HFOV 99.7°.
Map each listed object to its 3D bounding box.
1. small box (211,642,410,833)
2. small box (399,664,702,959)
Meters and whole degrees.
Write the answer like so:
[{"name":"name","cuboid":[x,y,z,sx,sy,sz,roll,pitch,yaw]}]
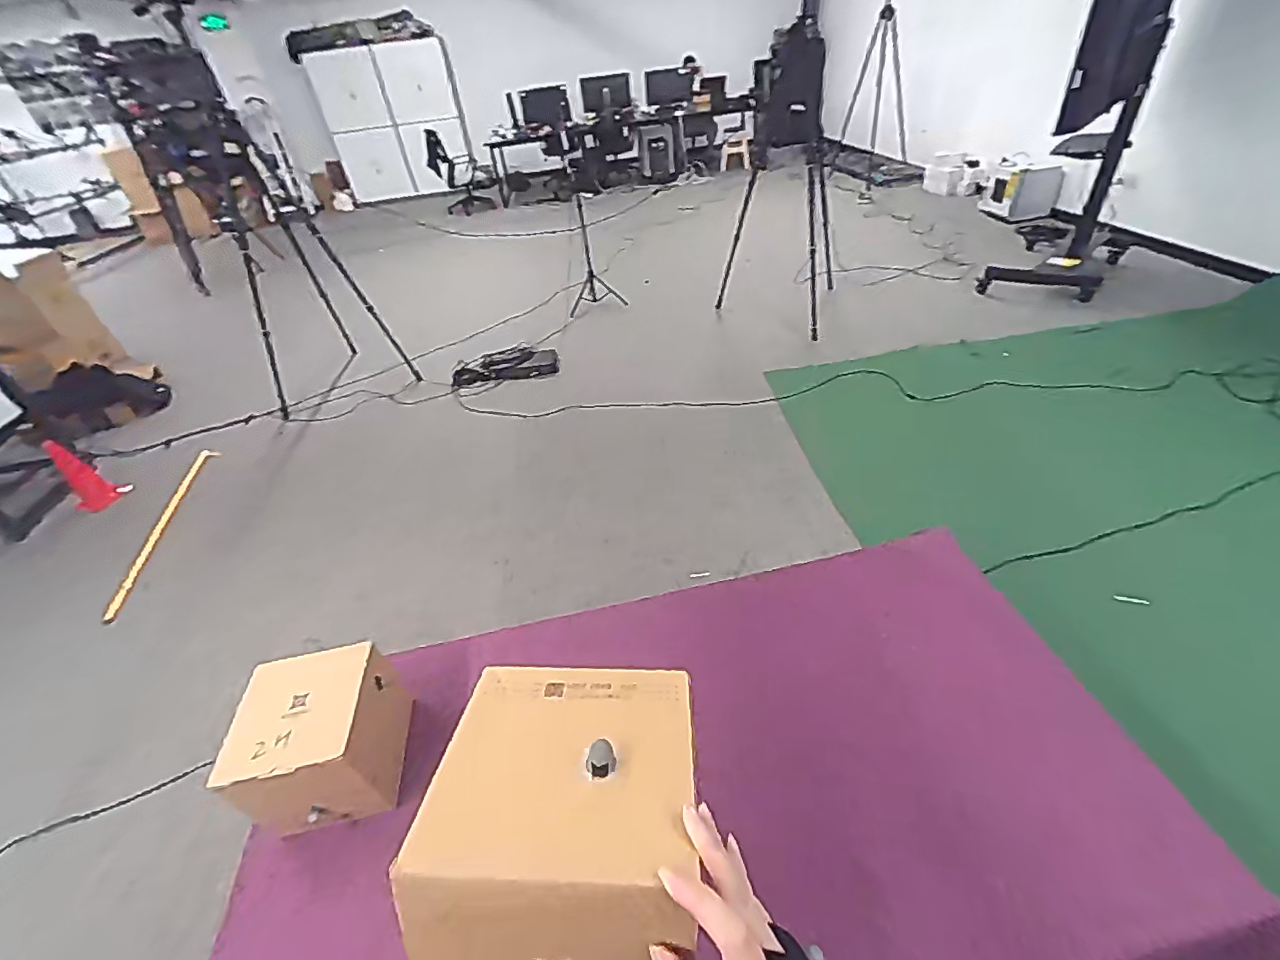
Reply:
[{"name":"small box","cuboid":[-0.449,0.367,0.776,0.168,0.176,0.179,-11,39,-4]},{"name":"small box","cuboid":[-0.045,0.255,0.390,0.168,0.179,0.176,1,21,4]}]
